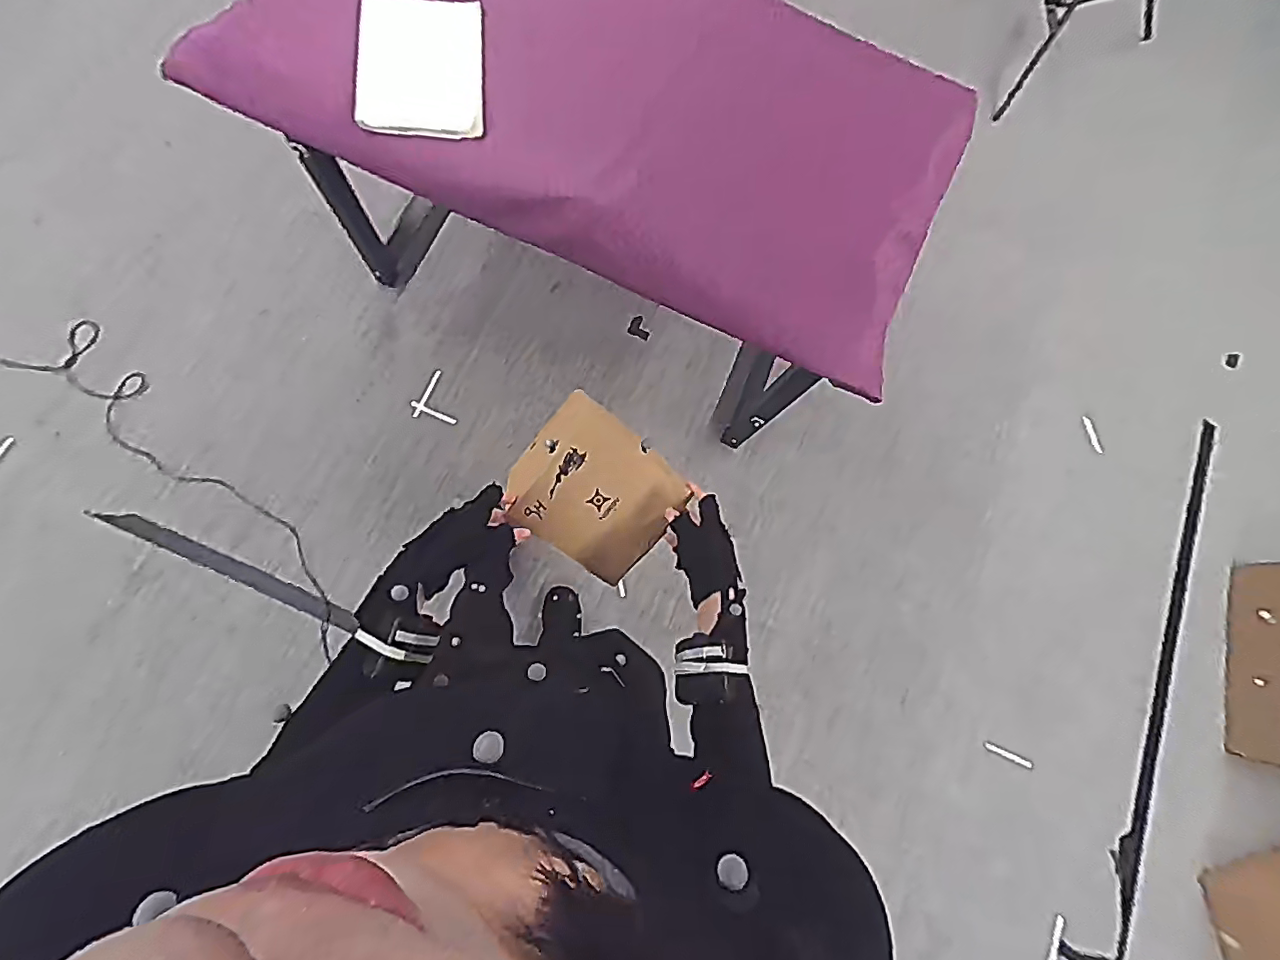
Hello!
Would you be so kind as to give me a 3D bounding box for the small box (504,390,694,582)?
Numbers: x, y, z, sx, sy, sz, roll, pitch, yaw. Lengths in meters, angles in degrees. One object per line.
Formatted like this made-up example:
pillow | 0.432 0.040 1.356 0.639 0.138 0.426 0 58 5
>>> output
small box | -0.060 -0.002 0.728 0.179 0.176 0.168 38 97 -20
